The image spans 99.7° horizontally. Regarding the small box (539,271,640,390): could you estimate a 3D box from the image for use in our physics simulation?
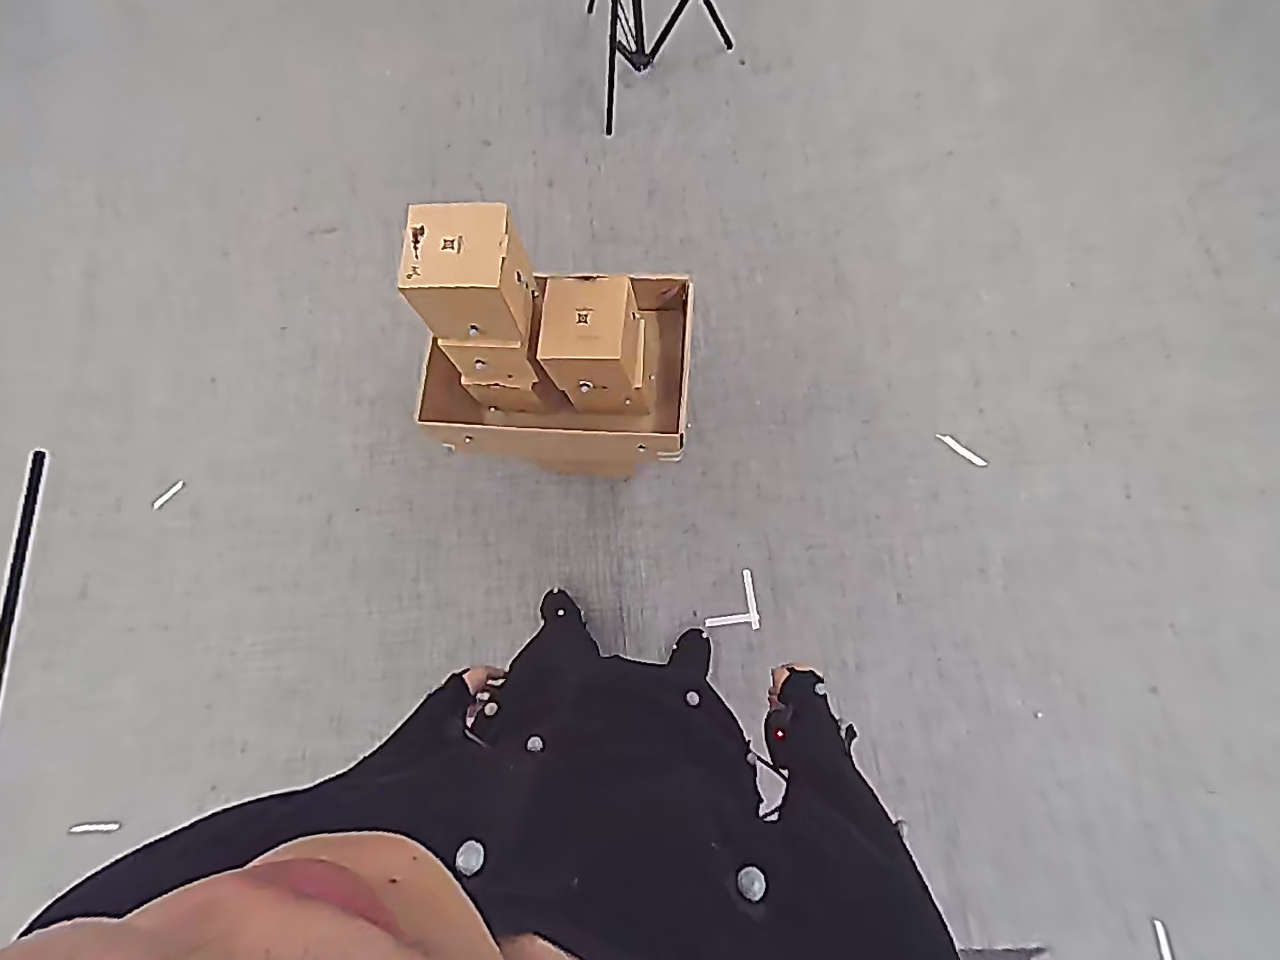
[{"bbox_3d":[-0.094,-0.301,1.105,0.168,0.176,0.179,3,77,9],"label":"small box"}]

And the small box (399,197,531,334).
[{"bbox_3d":[-0.303,-0.379,0.977,0.179,0.176,0.168,2,75,2],"label":"small box"}]

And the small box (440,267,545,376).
[{"bbox_3d":[-0.296,-0.330,1.134,0.168,0.176,0.179,3,76,3],"label":"small box"}]
